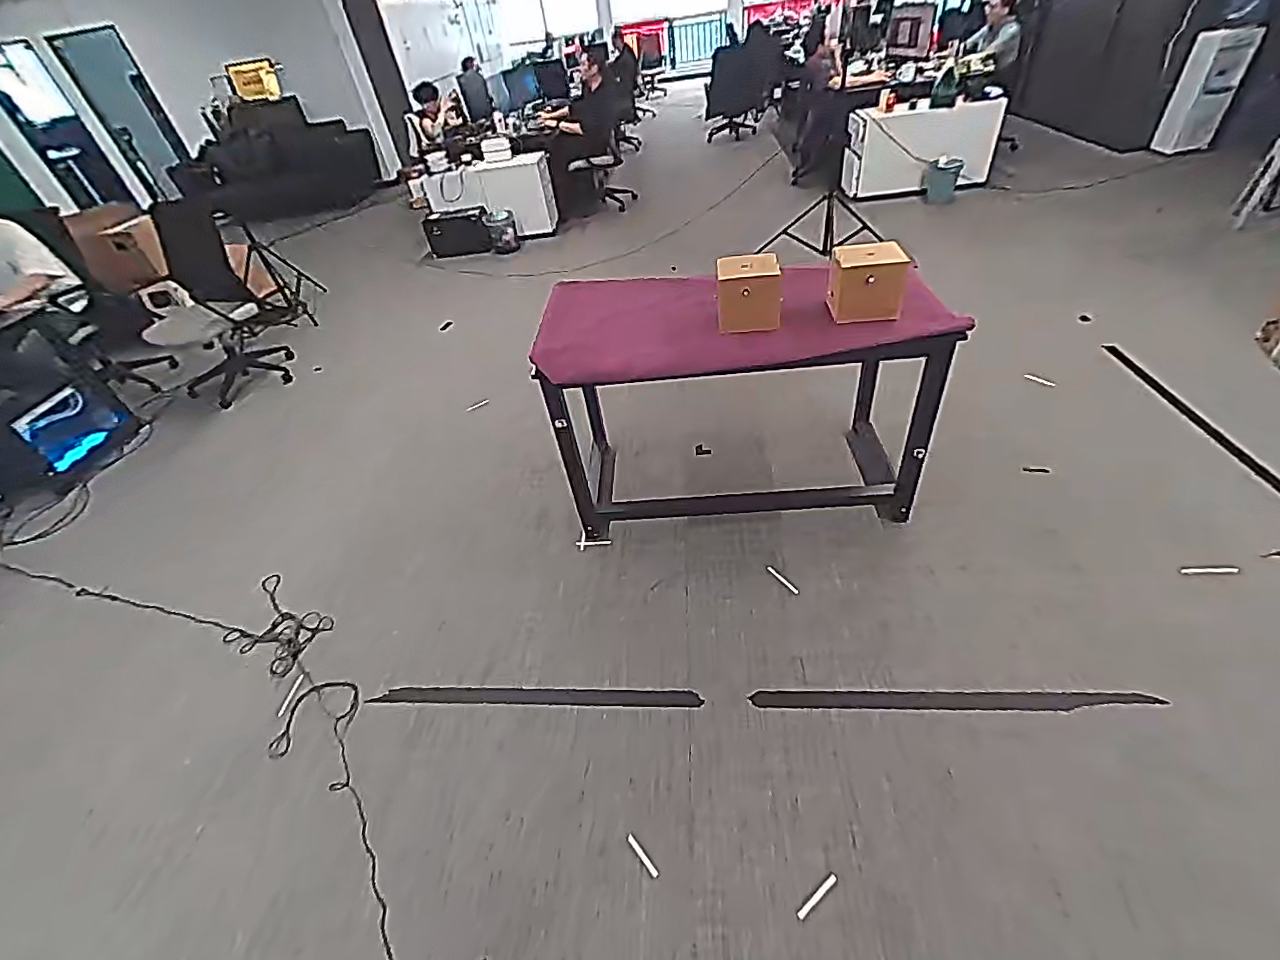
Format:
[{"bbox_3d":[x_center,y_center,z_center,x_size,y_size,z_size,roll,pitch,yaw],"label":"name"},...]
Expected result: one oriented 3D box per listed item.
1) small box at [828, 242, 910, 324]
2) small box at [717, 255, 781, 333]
[{"bbox_3d":[0.655,-0.569,1.568,0.179,0.176,0.168,-3,41,10],"label":"small box"},{"bbox_3d":[0.323,-0.550,1.612,0.179,0.176,0.168,-2,42,8],"label":"small box"}]
